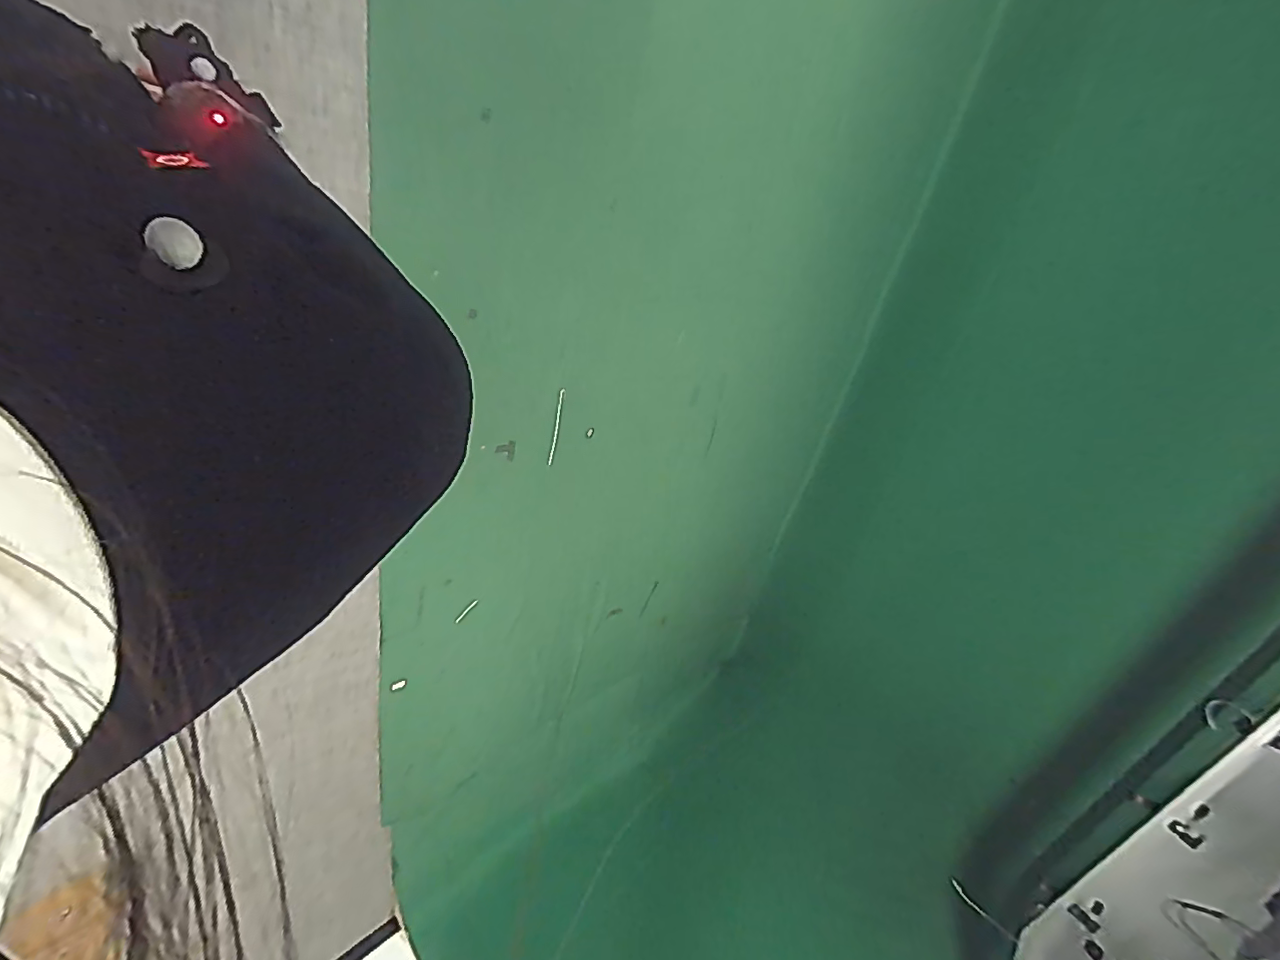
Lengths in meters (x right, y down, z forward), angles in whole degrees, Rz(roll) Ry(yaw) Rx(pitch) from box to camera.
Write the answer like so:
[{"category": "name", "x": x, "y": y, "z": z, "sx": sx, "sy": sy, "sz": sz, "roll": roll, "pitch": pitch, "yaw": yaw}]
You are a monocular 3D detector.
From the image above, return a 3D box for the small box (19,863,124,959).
[{"category": "small box", "x": -1.609, "y": 1.250, "z": 1.530, "sx": 0.179, "sy": 0.176, "sz": 0.168, "roll": -18, "pitch": 132, "yaw": -45}]

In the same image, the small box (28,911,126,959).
[{"category": "small box", "x": -1.495, "y": 1.317, "z": 1.436, "sx": 0.179, "sy": 0.176, "sz": 0.168, "roll": -15, "pitch": 129, "yaw": -44}]
